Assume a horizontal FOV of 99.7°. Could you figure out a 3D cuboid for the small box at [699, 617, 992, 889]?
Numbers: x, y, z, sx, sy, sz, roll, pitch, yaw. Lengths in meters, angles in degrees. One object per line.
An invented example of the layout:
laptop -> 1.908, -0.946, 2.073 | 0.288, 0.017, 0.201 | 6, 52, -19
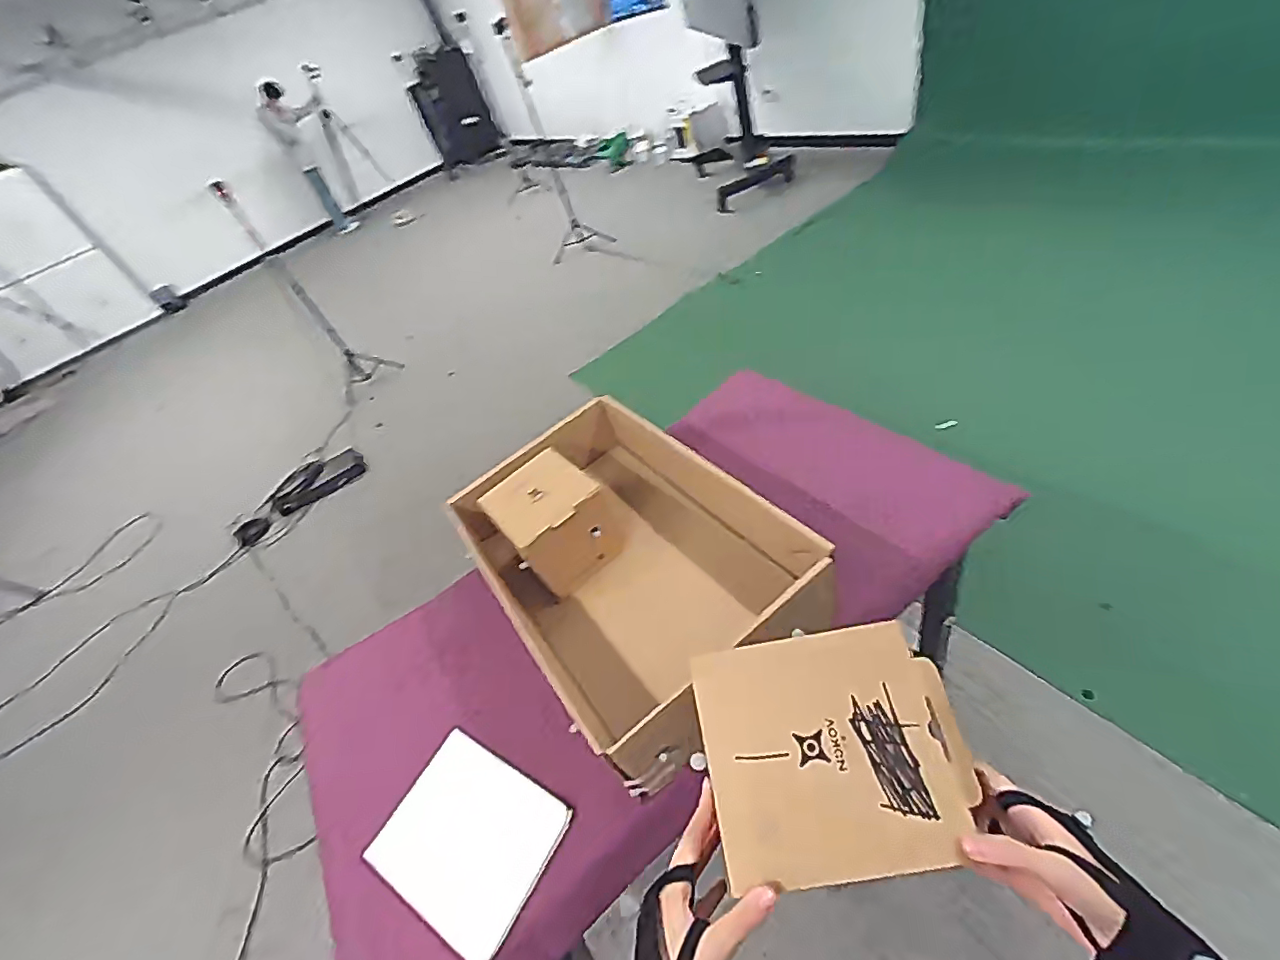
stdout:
small box -> 0.151, 0.230, 0.469 | 0.179, 0.176, 0.168 | -10, 61, 4
